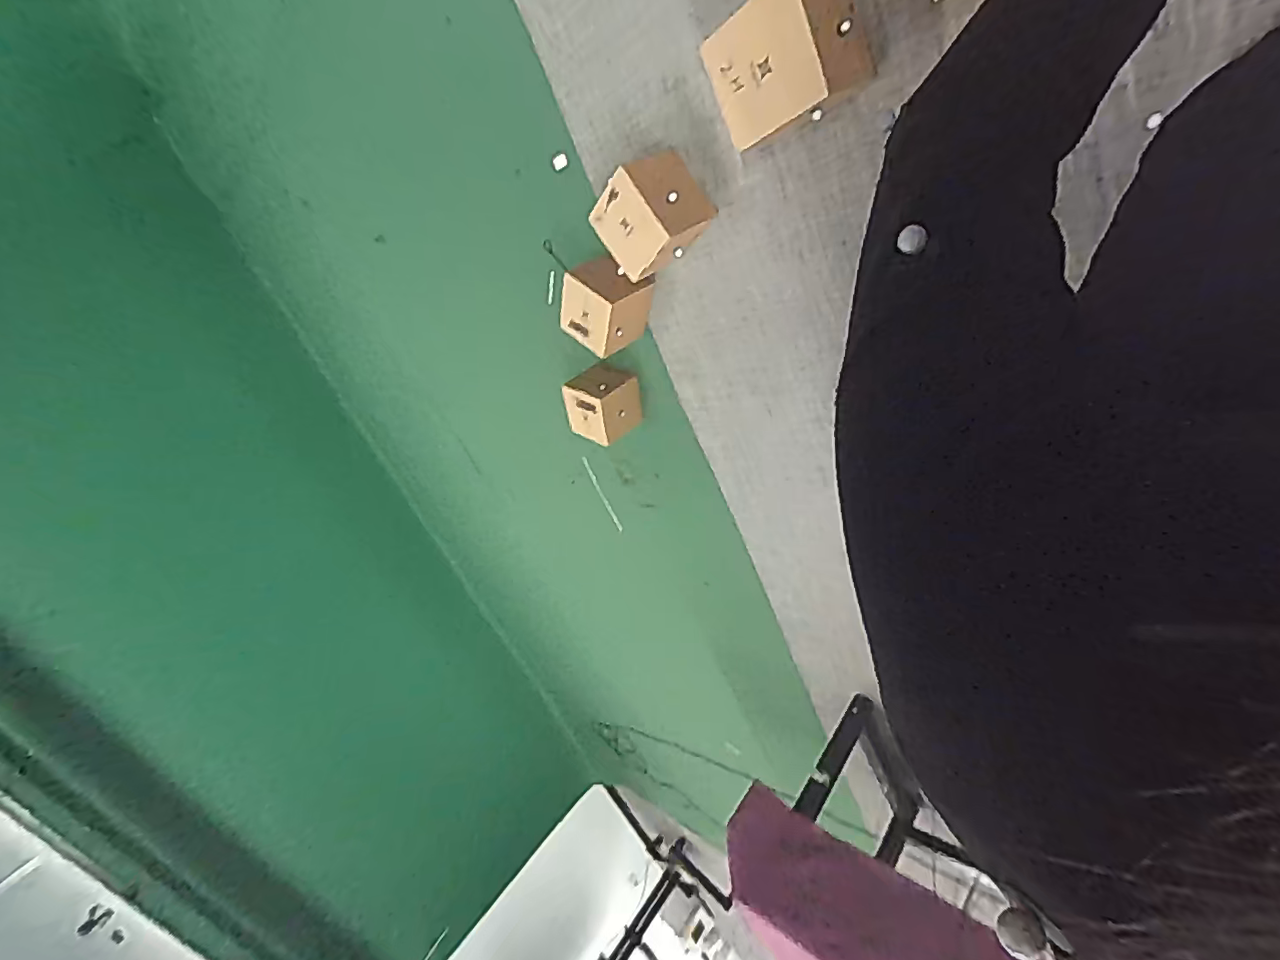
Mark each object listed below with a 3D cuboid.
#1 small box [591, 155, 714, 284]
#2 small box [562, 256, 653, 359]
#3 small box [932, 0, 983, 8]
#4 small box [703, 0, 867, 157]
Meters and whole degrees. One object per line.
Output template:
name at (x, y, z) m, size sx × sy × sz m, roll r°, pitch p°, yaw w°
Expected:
small box at (0.031, -0.576, 1.194) m, size 0.179 × 0.176 × 0.168 m, roll 54°, pitch 147°, yaw -6°
small box at (-0.086, -0.464, 1.445) m, size 0.168 × 0.176 × 0.179 m, roll 40°, pitch 145°, yaw 17°
small box at (0.441, -0.676, 0.608) m, size 0.179 × 0.176 × 0.168 m, roll 5°, pitch 126°, yaw 46°
small box at (0.239, -0.655, 0.863) m, size 0.179 × 0.176 × 0.168 m, roll -2°, pitch 120°, yaw 50°
